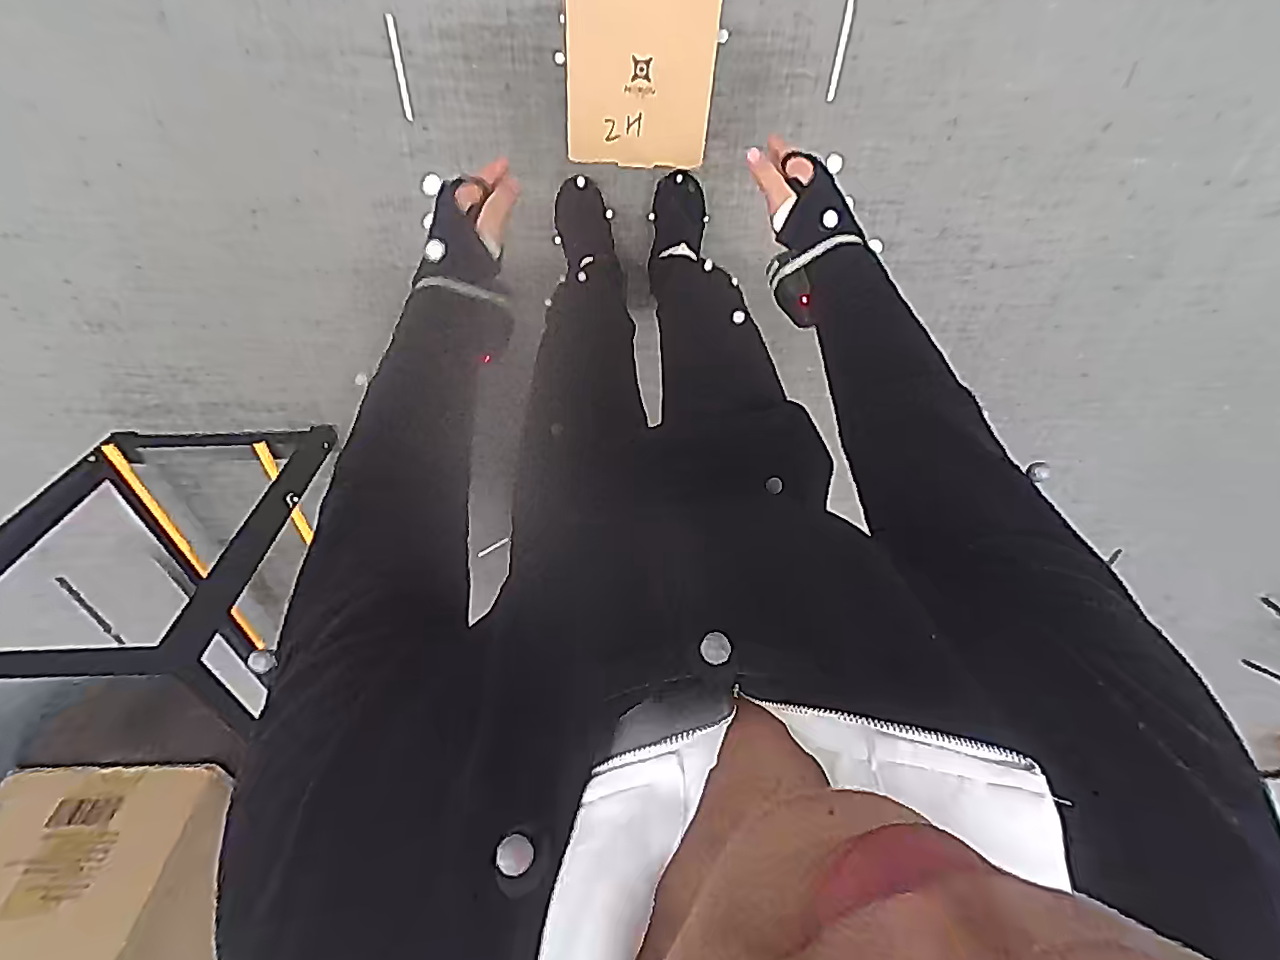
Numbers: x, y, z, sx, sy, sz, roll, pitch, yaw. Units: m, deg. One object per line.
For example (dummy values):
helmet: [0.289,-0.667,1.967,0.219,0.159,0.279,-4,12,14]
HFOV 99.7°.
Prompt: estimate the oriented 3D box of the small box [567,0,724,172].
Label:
small box: [-0.004,-0.497,0.660,0.168,0.176,0.179,2,131,-4]
